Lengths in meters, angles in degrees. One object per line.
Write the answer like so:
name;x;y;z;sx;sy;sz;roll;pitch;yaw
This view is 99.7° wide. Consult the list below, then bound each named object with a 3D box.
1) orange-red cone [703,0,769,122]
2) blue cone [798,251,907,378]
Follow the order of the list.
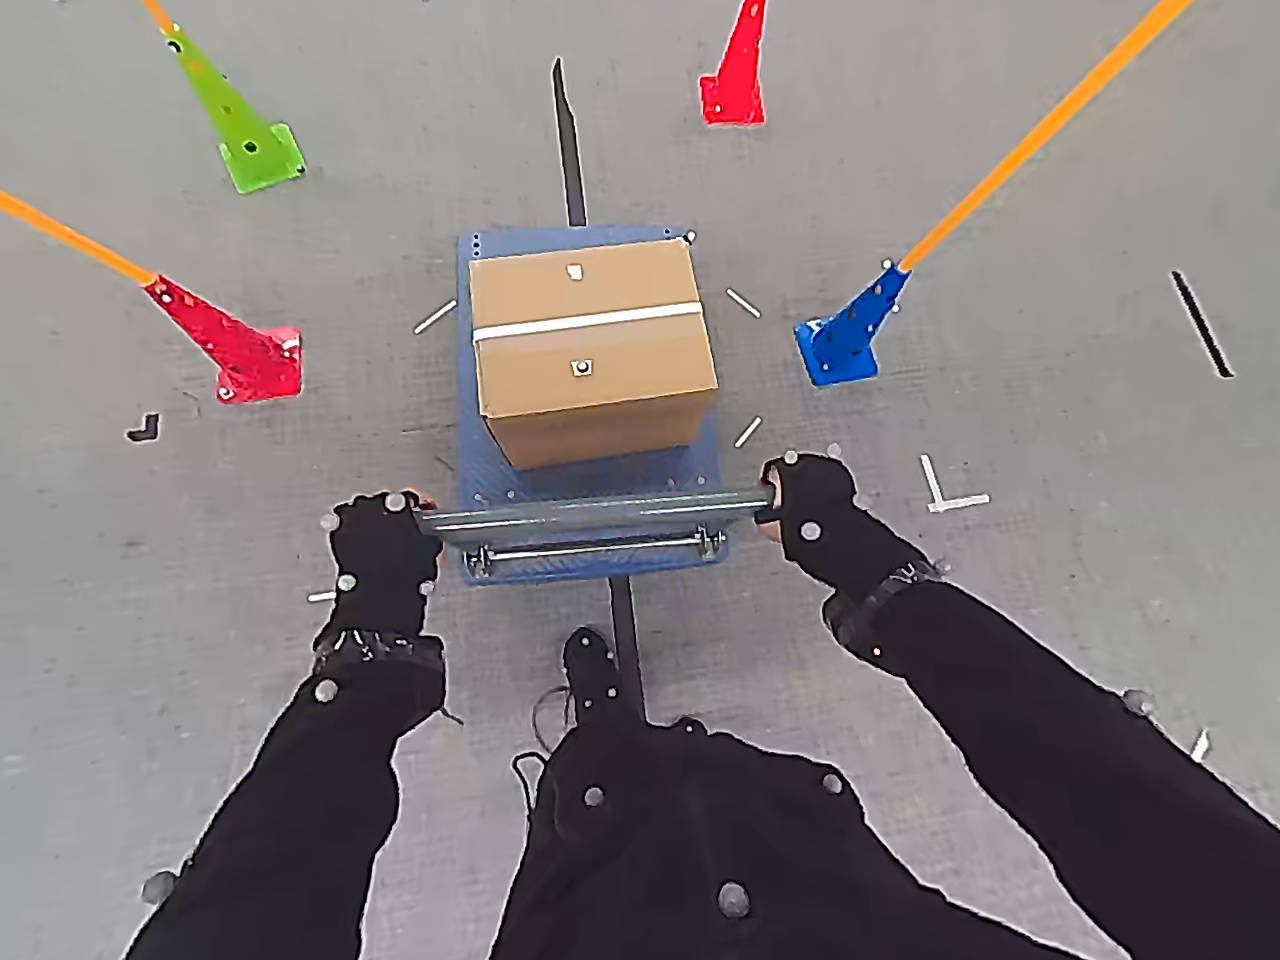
orange-red cone;0.314;-1.278;1.570;0.199;0.360;0.198;0;75;-5
blue cone;0.564;-0.426;1.363;0.193;0.380;0.192;-10;74;-7
